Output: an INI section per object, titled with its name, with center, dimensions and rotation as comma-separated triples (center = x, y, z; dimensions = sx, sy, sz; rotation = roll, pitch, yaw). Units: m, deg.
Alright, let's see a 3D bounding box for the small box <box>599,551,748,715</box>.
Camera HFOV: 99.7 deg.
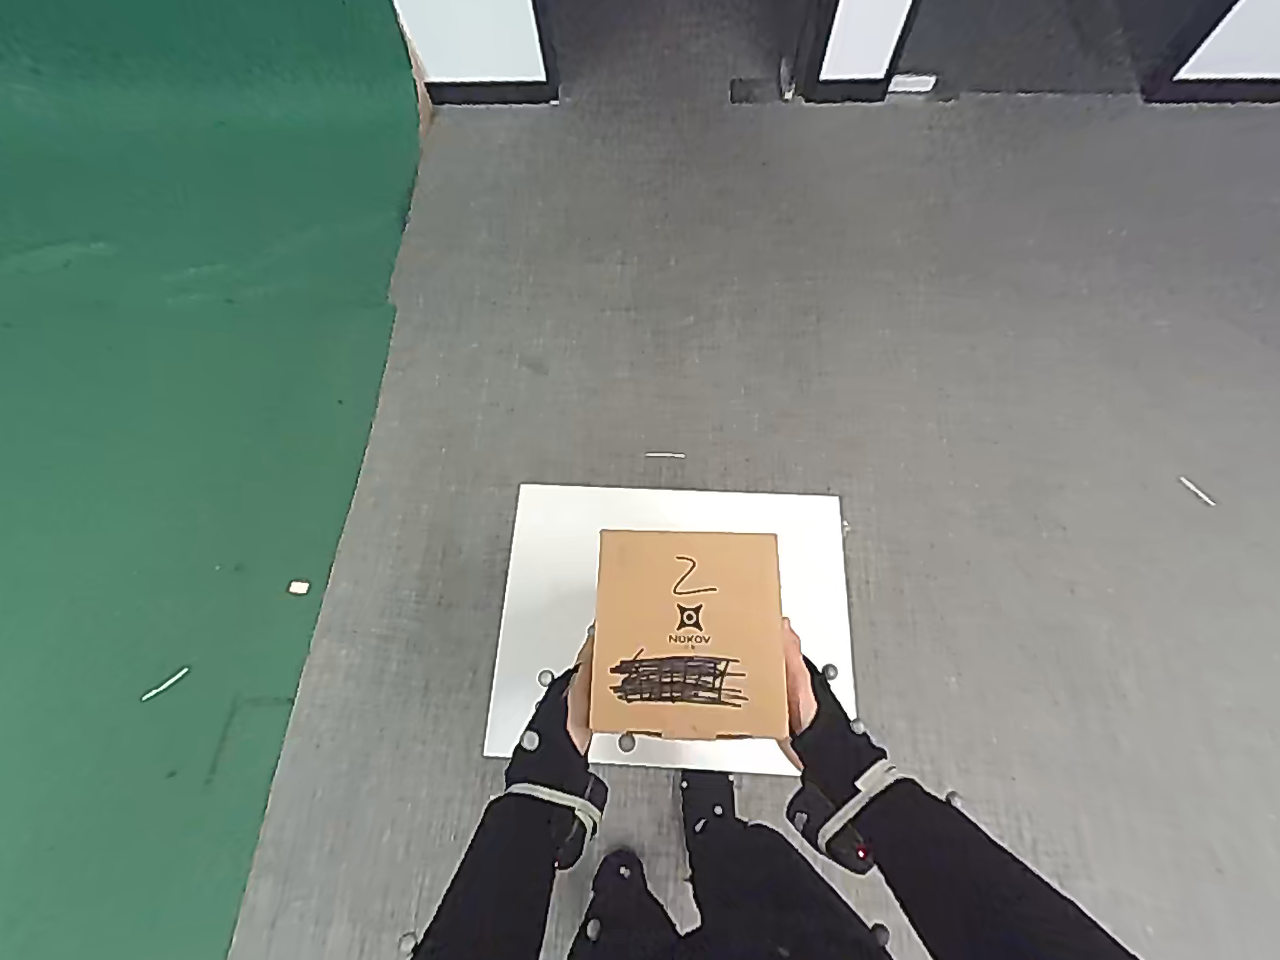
[small box]
center = 0.044, 0.201, 0.694
dimensions = 0.168, 0.176, 0.179
rotation = 2, 68, 3
